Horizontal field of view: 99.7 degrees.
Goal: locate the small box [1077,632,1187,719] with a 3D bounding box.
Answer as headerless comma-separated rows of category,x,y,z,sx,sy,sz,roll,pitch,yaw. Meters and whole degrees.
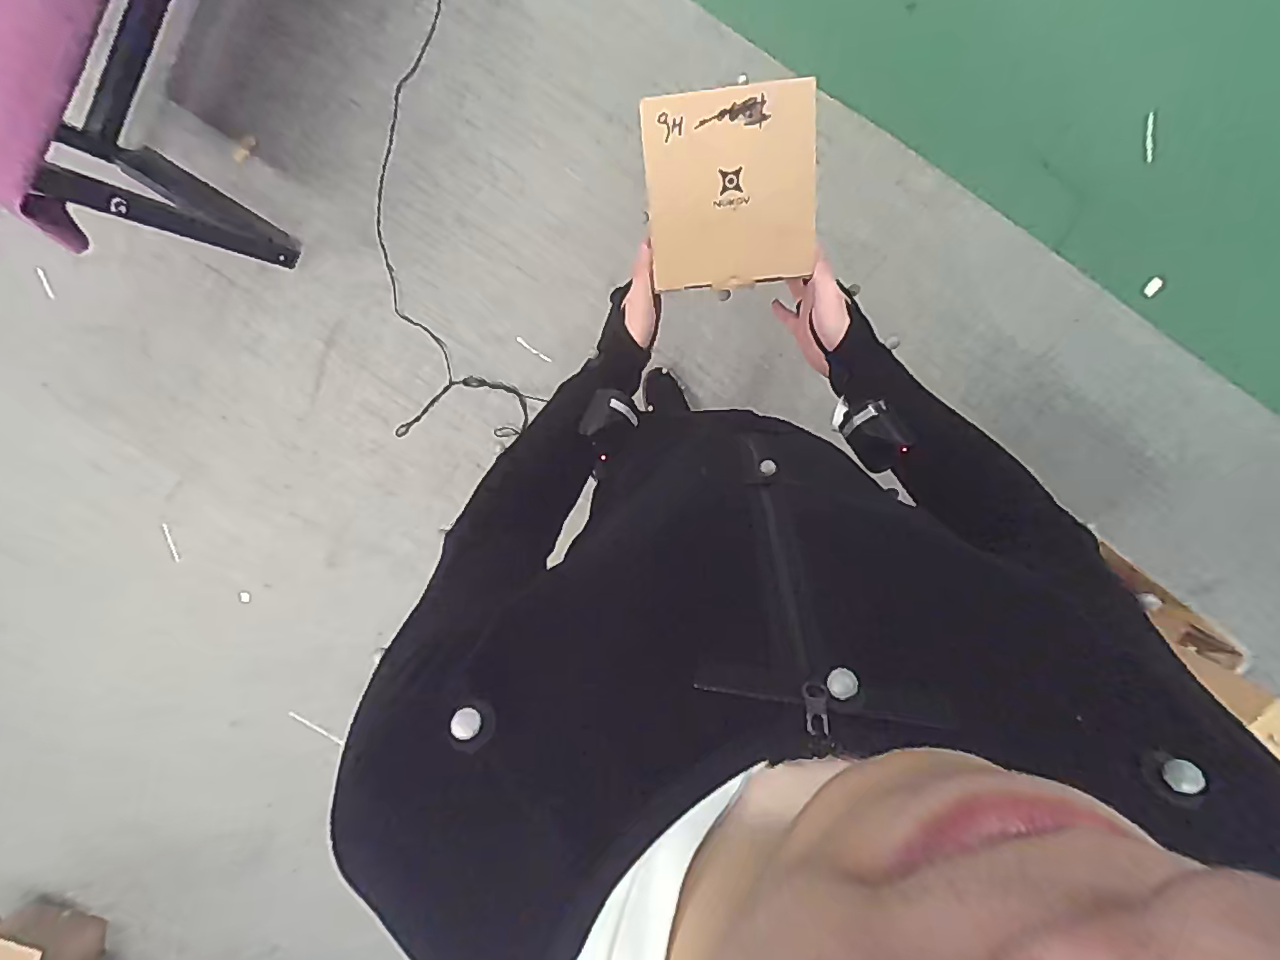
small box,0.905,0.373,0.969,0.179,0.176,0.168,37,101,0

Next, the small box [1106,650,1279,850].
small box,0.876,0.389,0.806,0.179,0.176,0.168,36,100,1

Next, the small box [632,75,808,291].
small box,0.085,-0.314,0.604,0.168,0.176,0.179,-5,110,4
